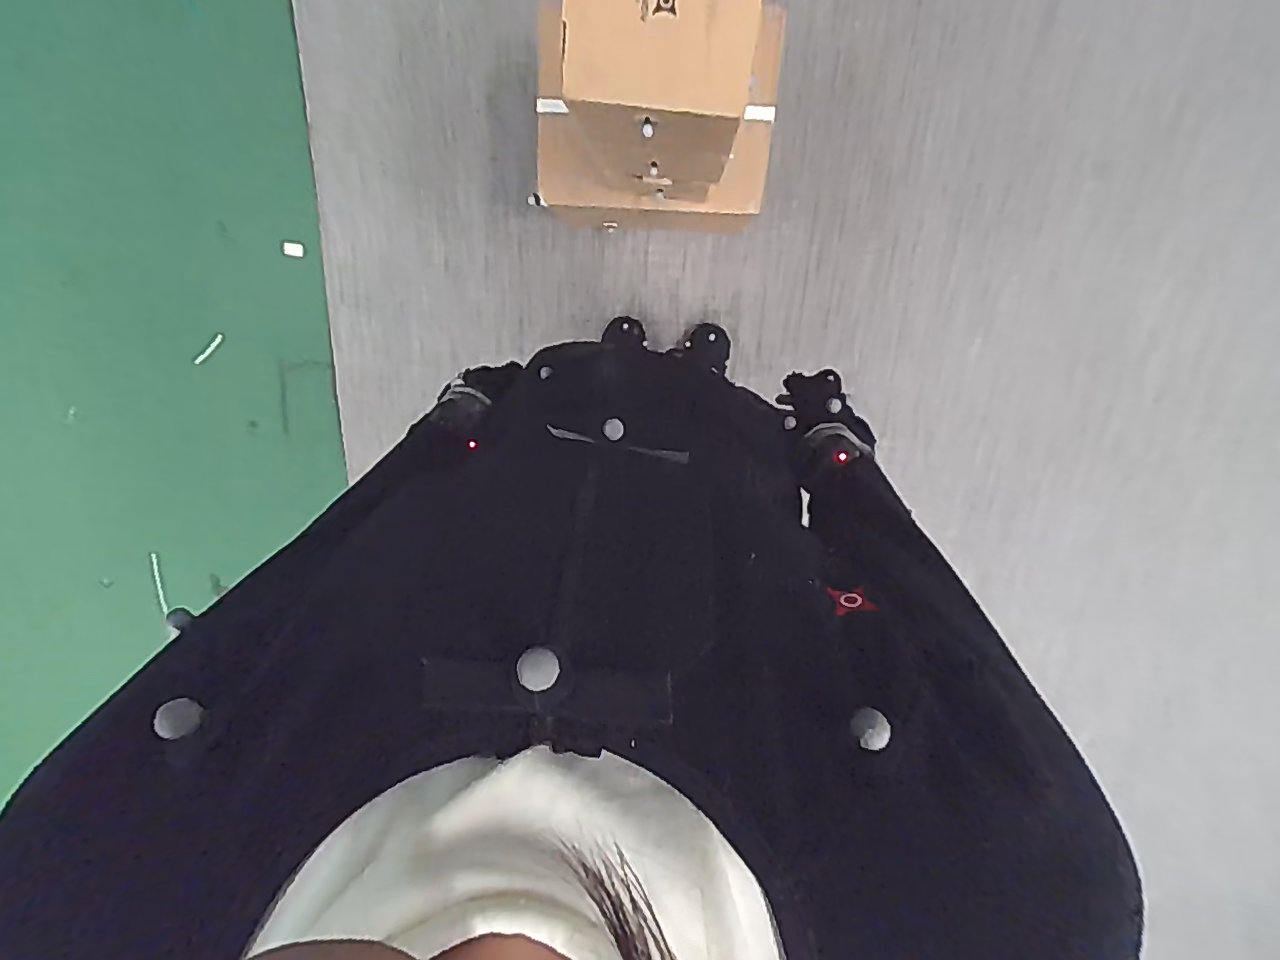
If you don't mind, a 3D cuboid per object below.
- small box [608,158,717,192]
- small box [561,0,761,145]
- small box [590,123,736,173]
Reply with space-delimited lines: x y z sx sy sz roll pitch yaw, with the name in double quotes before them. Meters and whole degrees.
"small box" 0.050 -0.566 0.852 0.168 0.176 0.179 8 111 3
"small box" 0.027 -0.455 0.546 0.179 0.176 0.168 7 111 2
"small box" 0.041 -0.508 0.698 0.179 0.176 0.168 8 110 4
